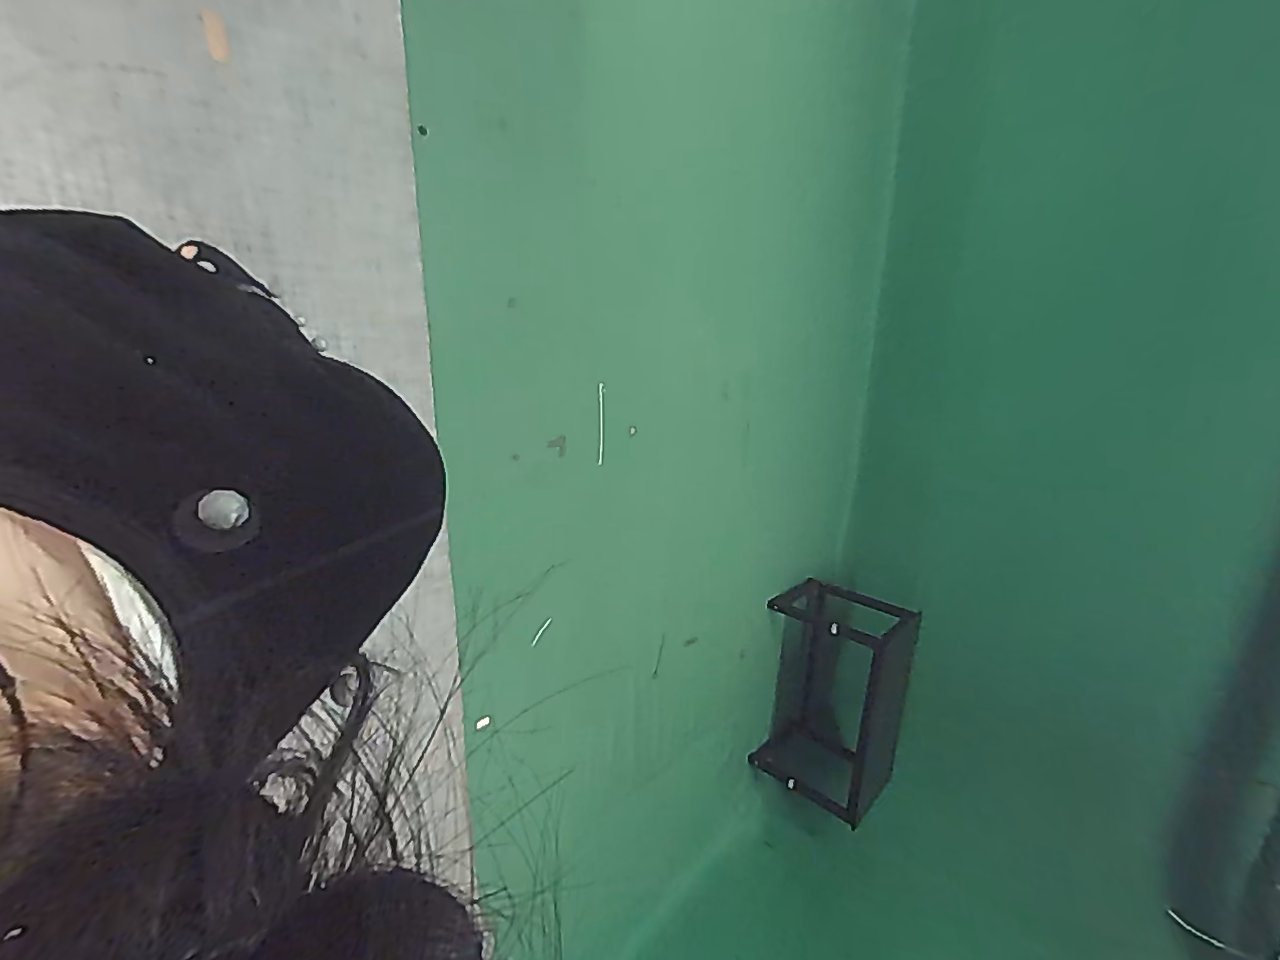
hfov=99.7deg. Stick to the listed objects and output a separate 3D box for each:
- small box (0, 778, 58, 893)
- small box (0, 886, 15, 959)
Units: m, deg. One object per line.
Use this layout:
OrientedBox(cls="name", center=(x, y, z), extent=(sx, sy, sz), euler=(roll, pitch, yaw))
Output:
OrientedBox(cls="small box", center=(-1.244, 0.707, 1.007), extent=(0.179, 0.176, 0.168), euler=(-25, 118, -40))
OrientedBox(cls="small box", center=(-1.025, 0.740, 0.764), extent=(0.179, 0.176, 0.168), euler=(0, 100, -47))
